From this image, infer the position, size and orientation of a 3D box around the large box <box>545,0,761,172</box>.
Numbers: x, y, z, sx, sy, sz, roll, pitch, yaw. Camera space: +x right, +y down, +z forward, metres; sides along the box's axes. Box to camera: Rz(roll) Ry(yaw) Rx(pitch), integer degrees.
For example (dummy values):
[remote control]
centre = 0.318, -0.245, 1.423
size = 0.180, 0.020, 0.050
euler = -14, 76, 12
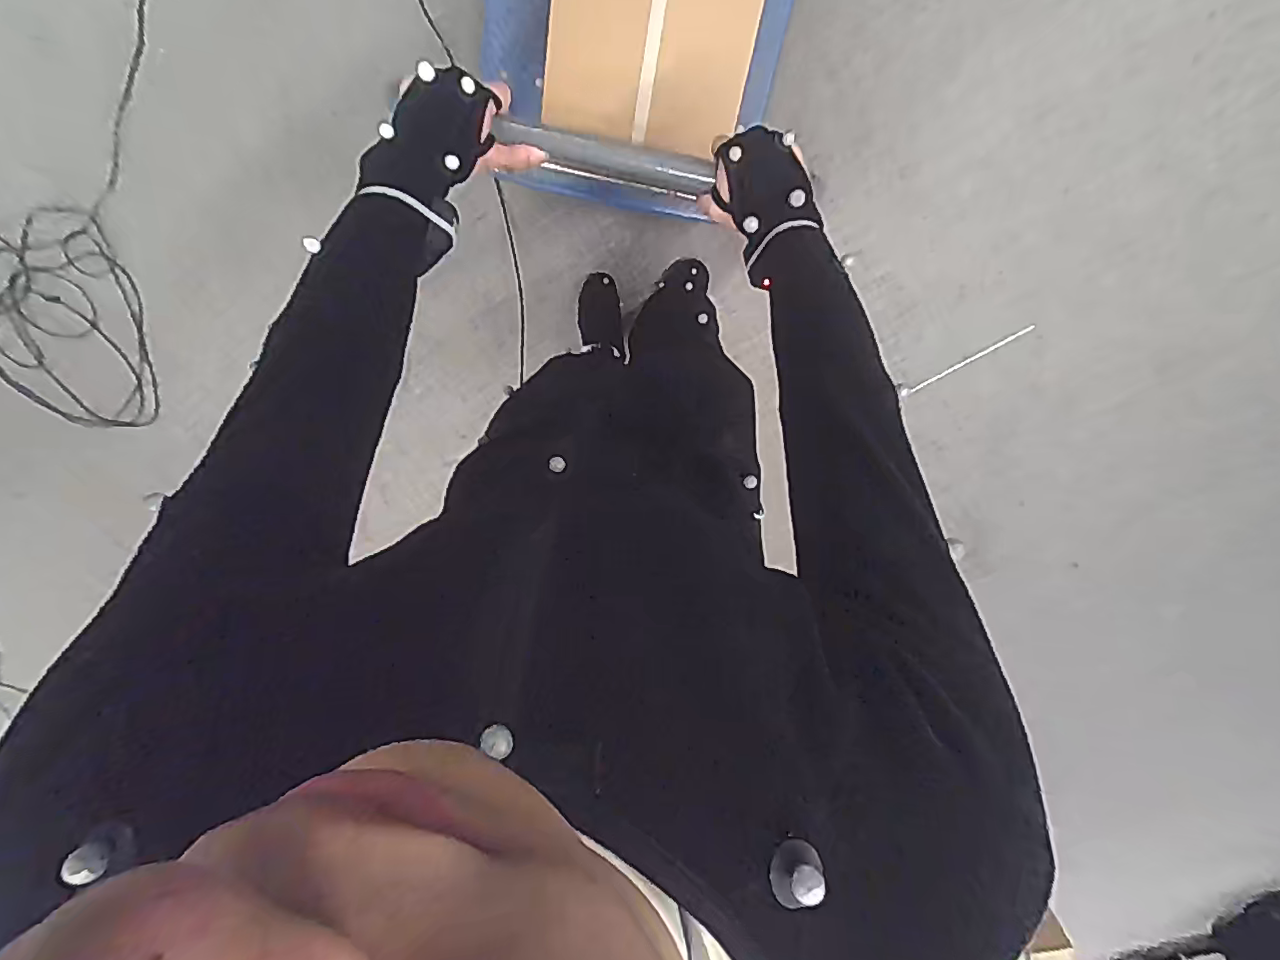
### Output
[large box]
centre = 0.027, -0.799, 0.947
size = 0.320, 0.320, 0.408
euler = 9, 117, -6
